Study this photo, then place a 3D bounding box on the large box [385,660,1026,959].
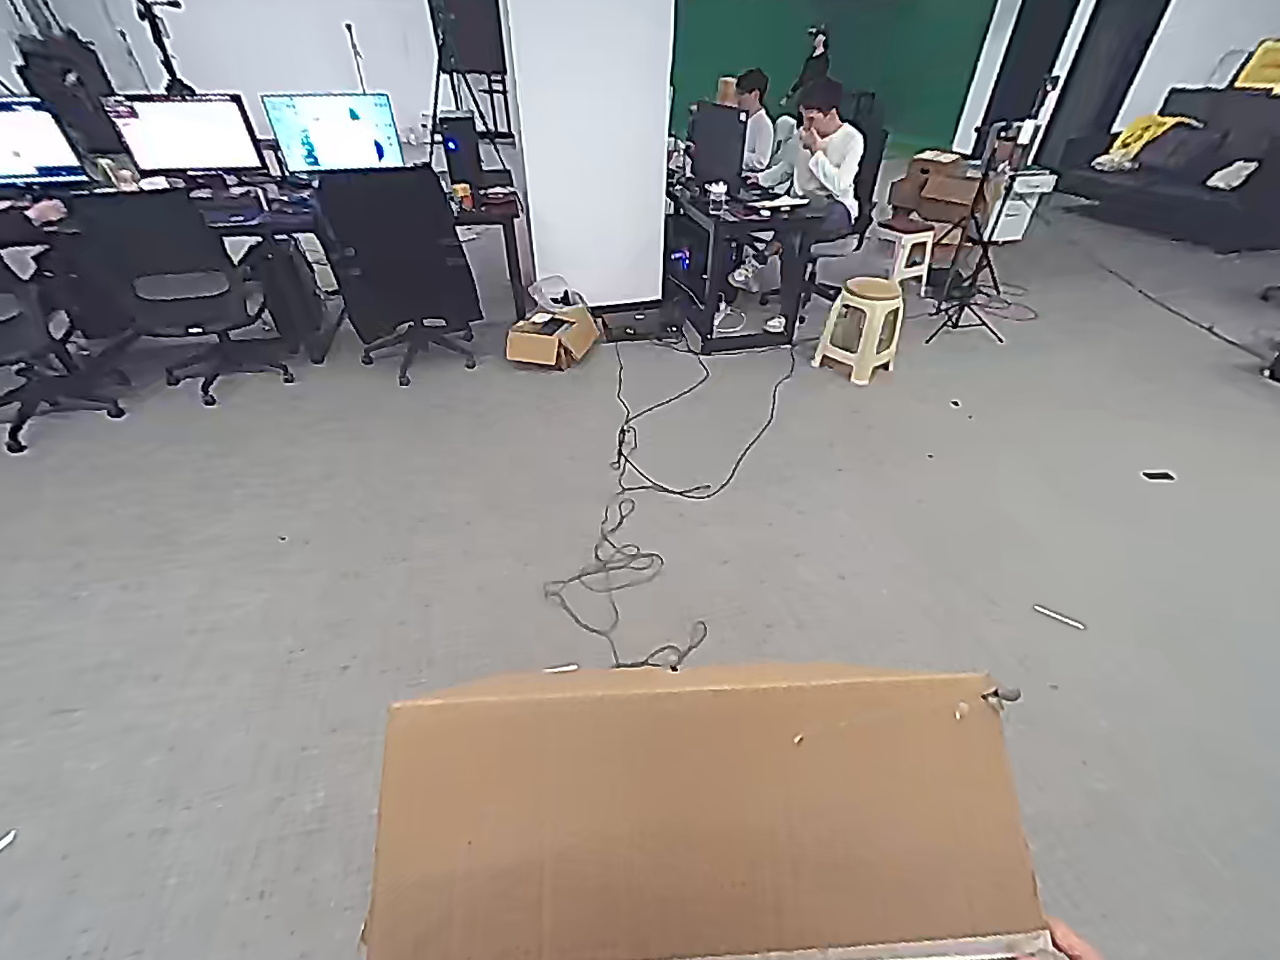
[{"bbox_3d":[0.035,0.337,0.475,0.408,0.320,0.320,-3,75,-4],"label":"large box"}]
